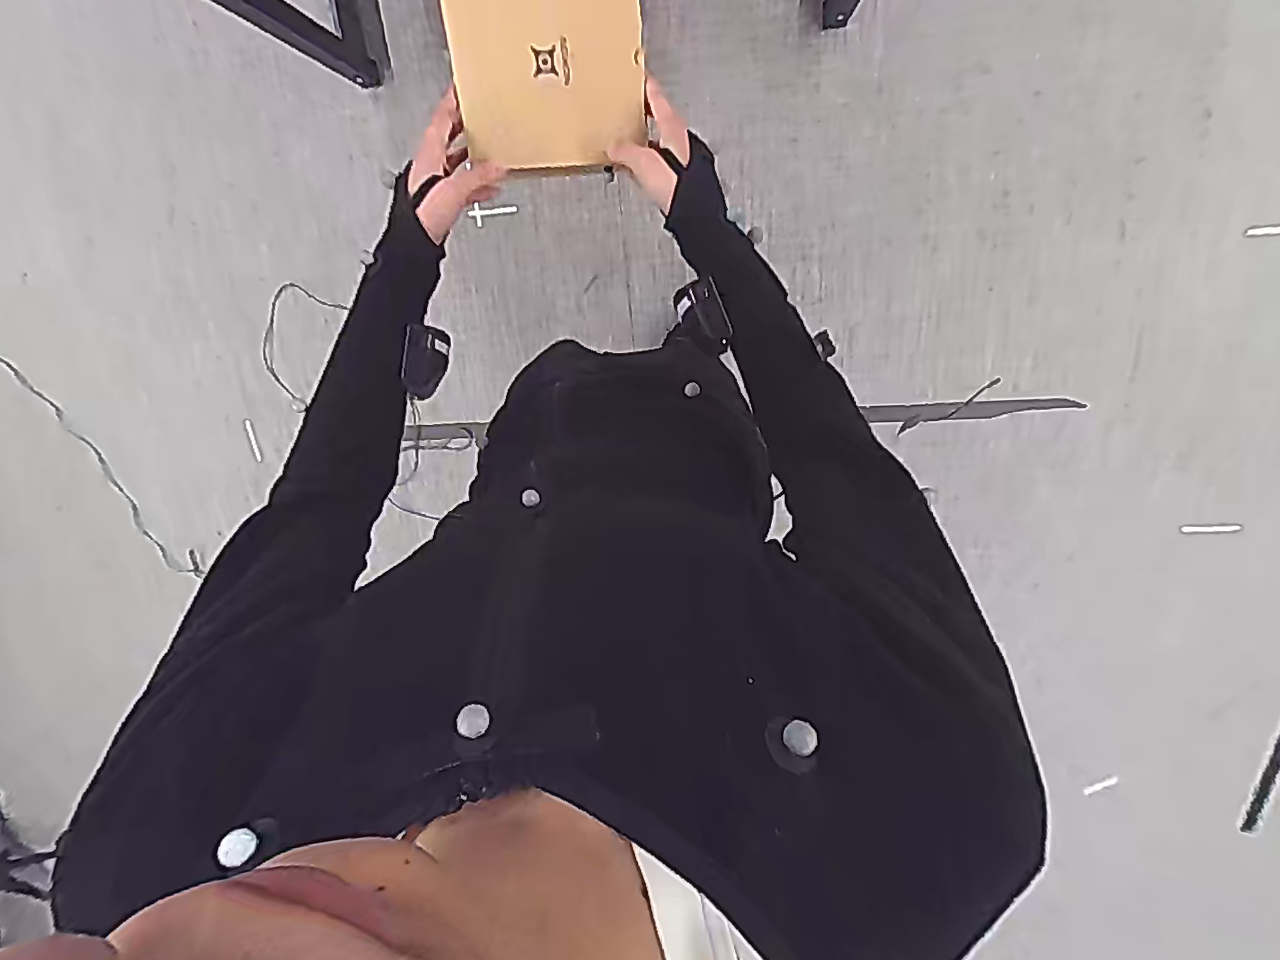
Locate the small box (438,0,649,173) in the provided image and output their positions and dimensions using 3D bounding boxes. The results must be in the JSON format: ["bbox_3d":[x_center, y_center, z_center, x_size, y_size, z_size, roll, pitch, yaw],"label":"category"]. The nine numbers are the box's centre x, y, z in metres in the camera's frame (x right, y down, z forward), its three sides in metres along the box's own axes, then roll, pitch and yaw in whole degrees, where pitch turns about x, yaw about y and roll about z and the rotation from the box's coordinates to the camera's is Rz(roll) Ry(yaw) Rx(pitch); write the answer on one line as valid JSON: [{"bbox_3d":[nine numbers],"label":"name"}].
[{"bbox_3d":[-0.091,-0.415,0.549,0.179,0.176,0.168,-7,118,-6],"label":"small box"}]
